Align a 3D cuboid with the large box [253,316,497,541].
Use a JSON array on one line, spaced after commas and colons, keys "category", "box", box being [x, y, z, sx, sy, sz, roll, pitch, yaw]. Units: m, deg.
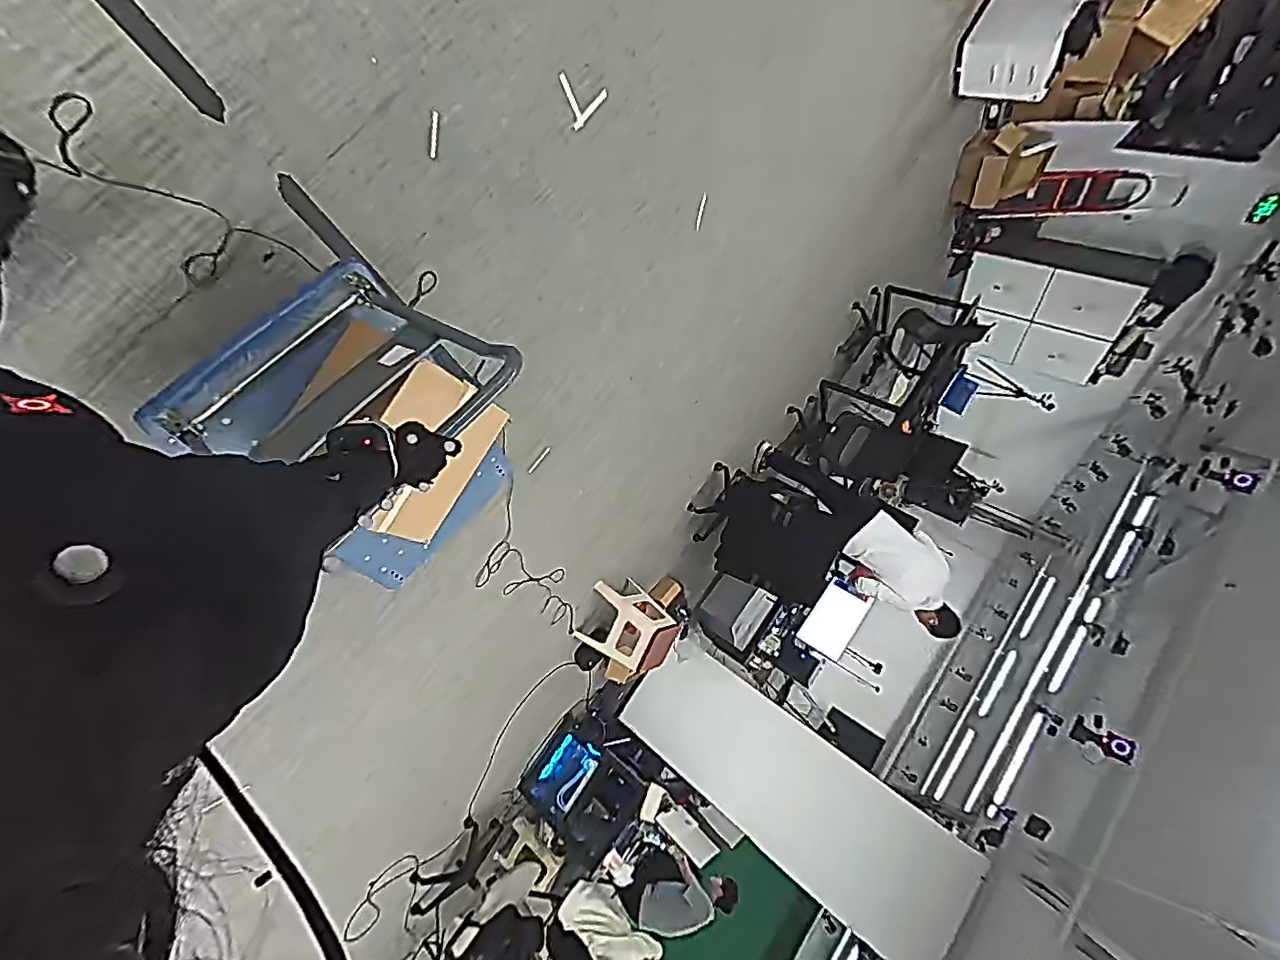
[{"category": "large box", "box": [-0.641, -0.122, 1.336, 0.408, 0.320, 0.320, -58, 149, -3]}]
